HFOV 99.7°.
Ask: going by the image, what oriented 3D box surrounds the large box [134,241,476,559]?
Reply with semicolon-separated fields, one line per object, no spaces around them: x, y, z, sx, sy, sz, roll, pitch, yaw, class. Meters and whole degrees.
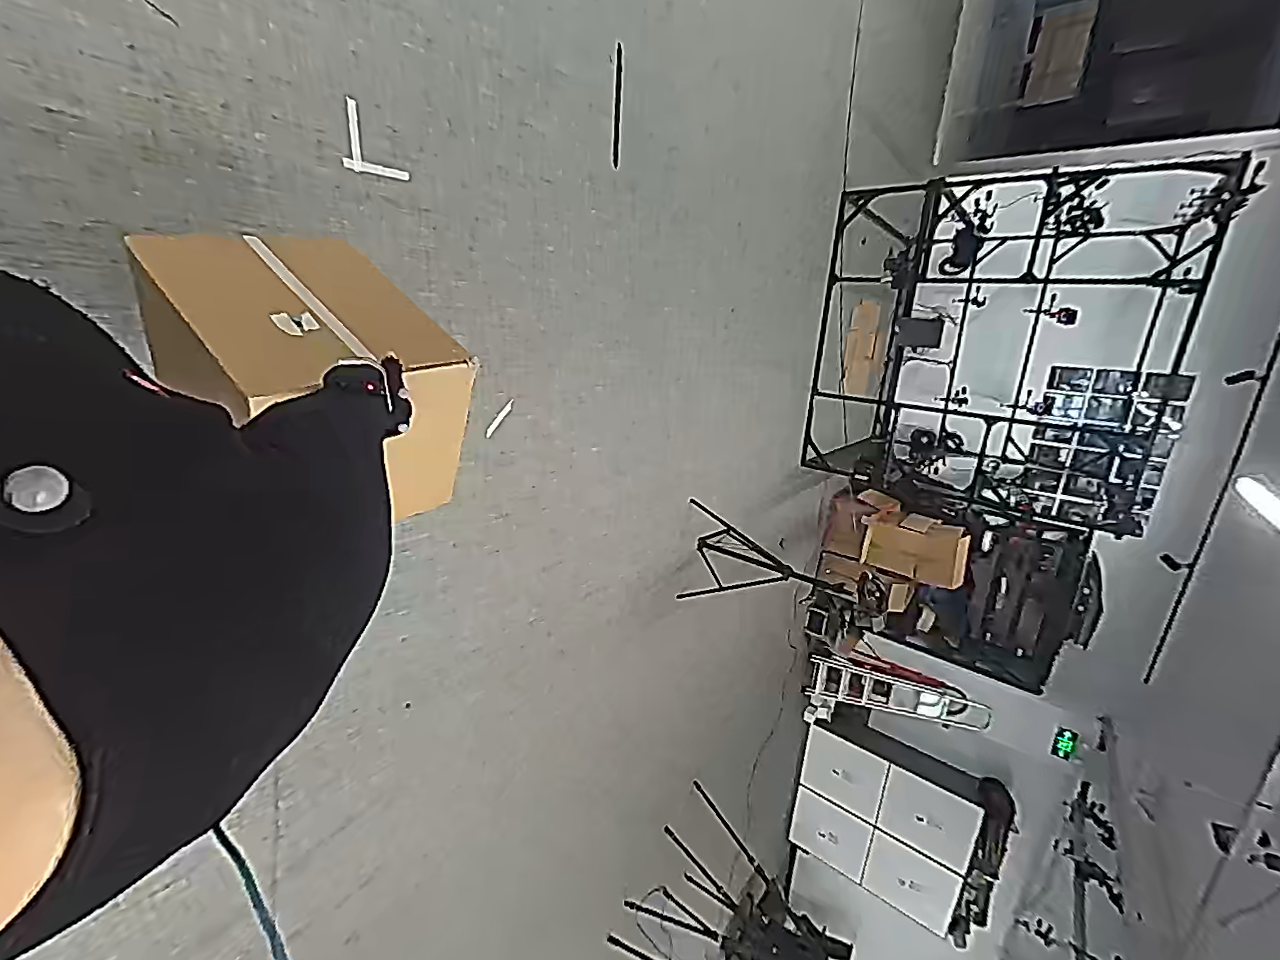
-0.547;-0.150;0.904;0.320;0.408;0.320;-26;151;-46;large box
